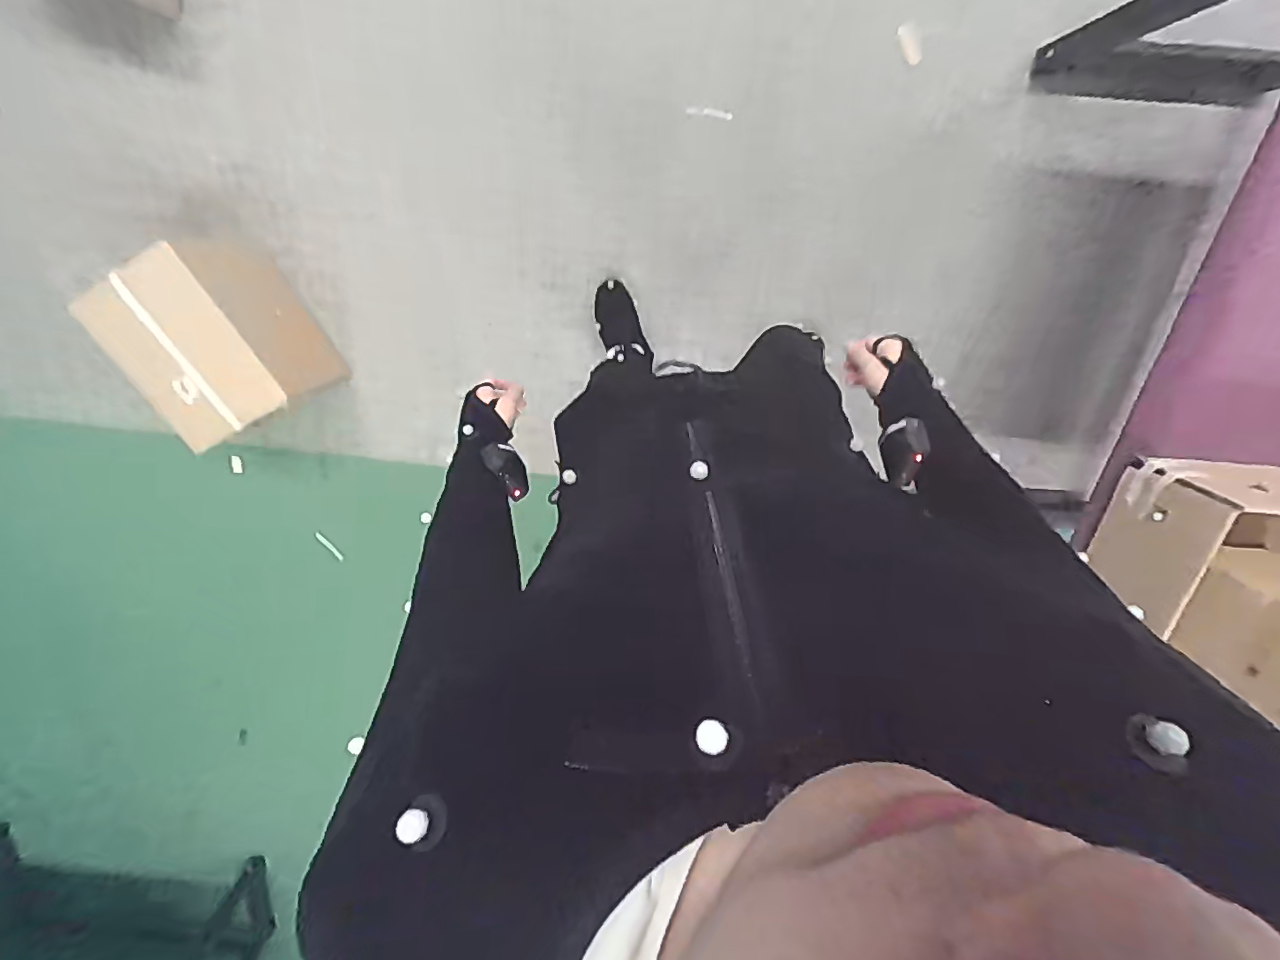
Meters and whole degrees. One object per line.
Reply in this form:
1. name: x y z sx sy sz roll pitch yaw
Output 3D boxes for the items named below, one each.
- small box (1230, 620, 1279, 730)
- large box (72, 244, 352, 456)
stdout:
1. small box: 0.920 0.267 0.669 0.179 0.176 0.168 5 111 -2
2. large box: -1.058 -0.342 1.395 0.320 0.320 0.408 -25 111 12
